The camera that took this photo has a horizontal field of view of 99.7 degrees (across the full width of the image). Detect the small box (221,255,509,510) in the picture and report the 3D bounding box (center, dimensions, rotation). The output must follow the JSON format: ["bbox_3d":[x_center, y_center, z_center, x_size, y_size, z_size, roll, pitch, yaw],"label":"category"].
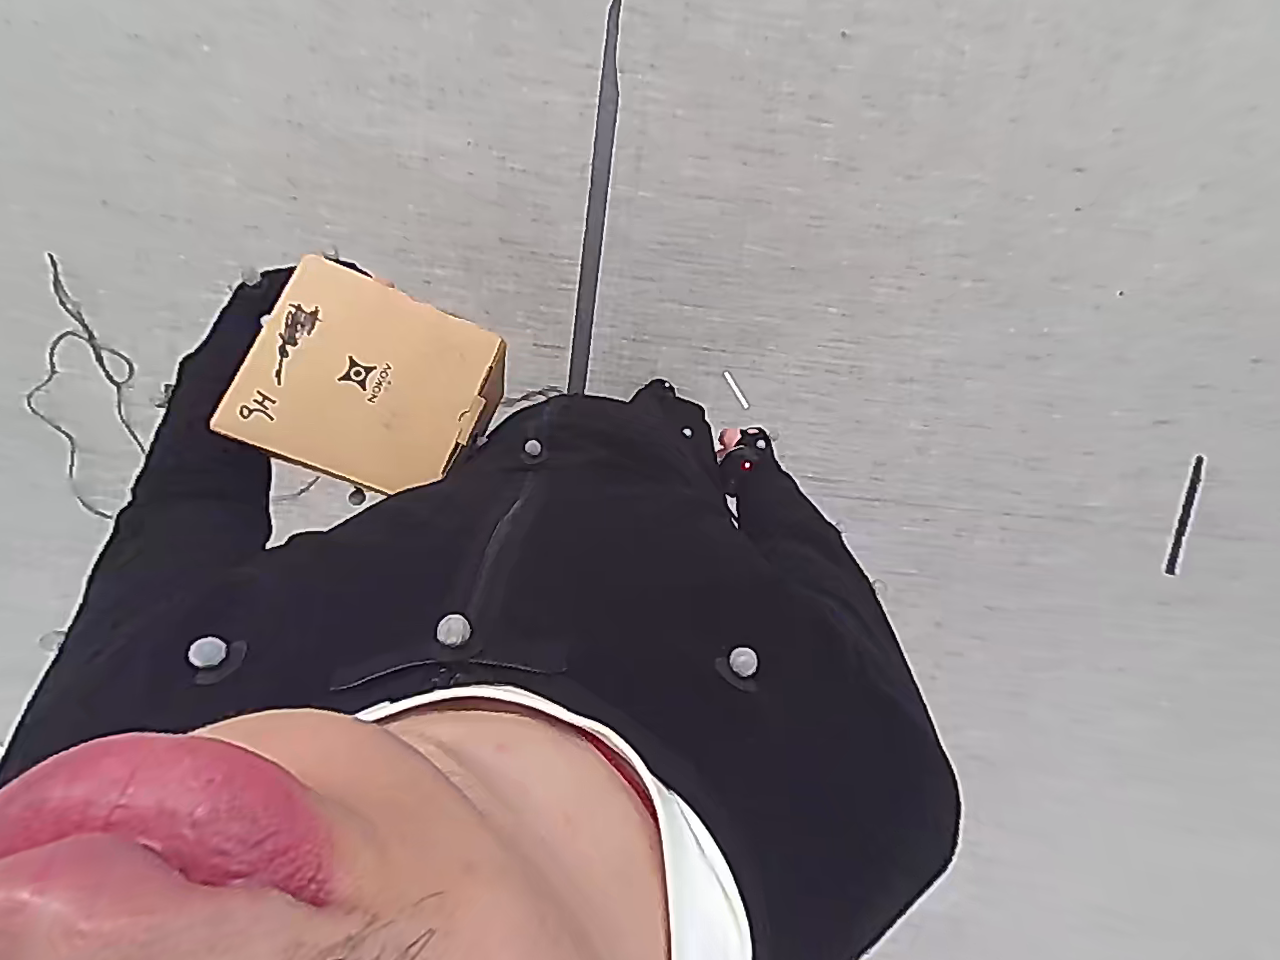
[{"bbox_3d":[-0.243,-0.075,0.531,0.179,0.176,0.168,22,77,-12],"label":"small box"}]
